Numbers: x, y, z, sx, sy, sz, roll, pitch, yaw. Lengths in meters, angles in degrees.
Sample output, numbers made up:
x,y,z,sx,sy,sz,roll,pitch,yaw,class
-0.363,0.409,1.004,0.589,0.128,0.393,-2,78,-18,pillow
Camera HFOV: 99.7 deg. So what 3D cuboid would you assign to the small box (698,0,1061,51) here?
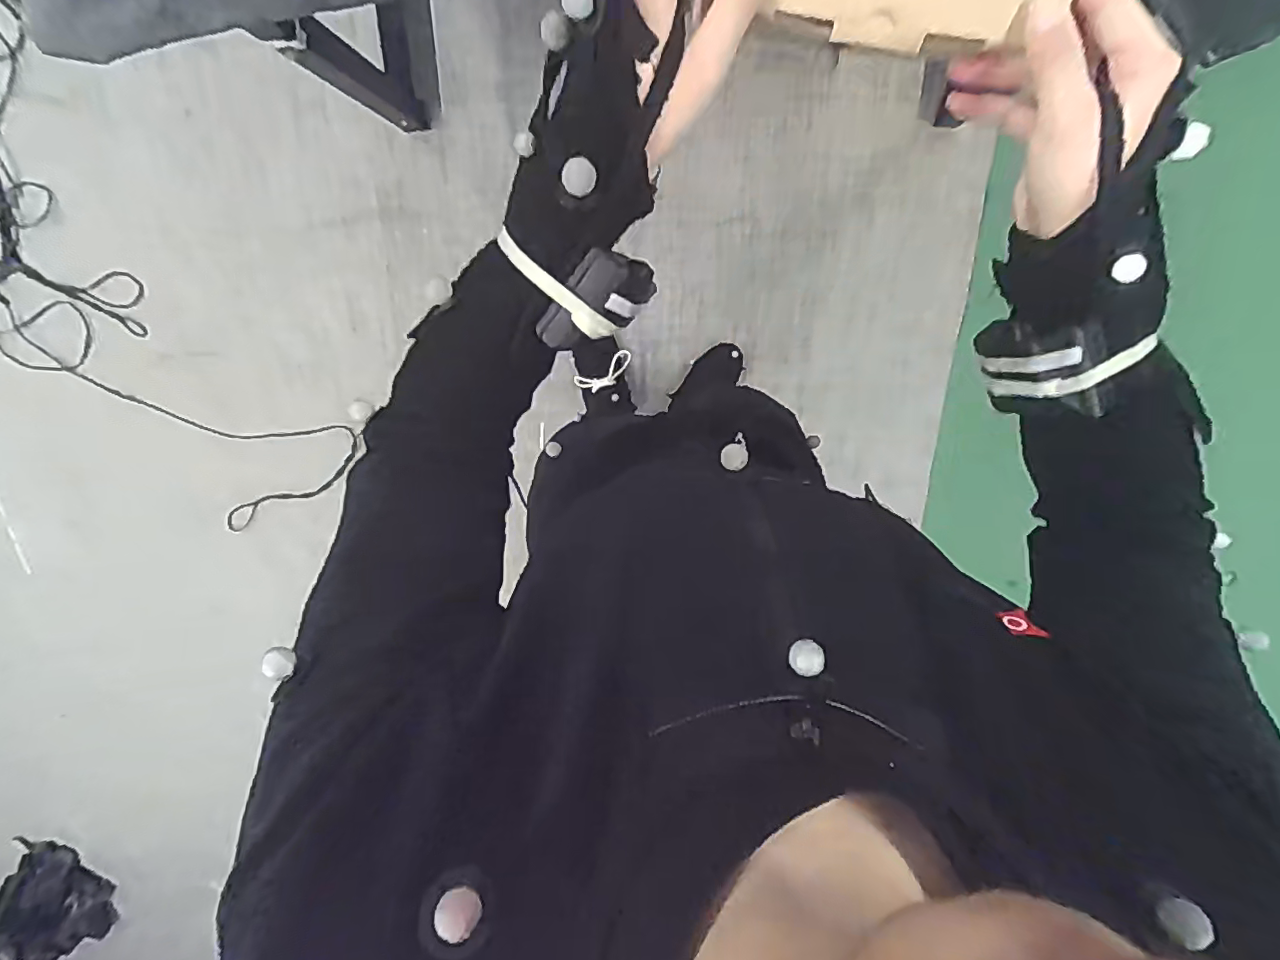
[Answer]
x,y,z,sx,sy,sz,roll,pitch,yaw,class
0.121,-0.329,0.261,0.168,0.176,0.179,5,129,-2,small box
